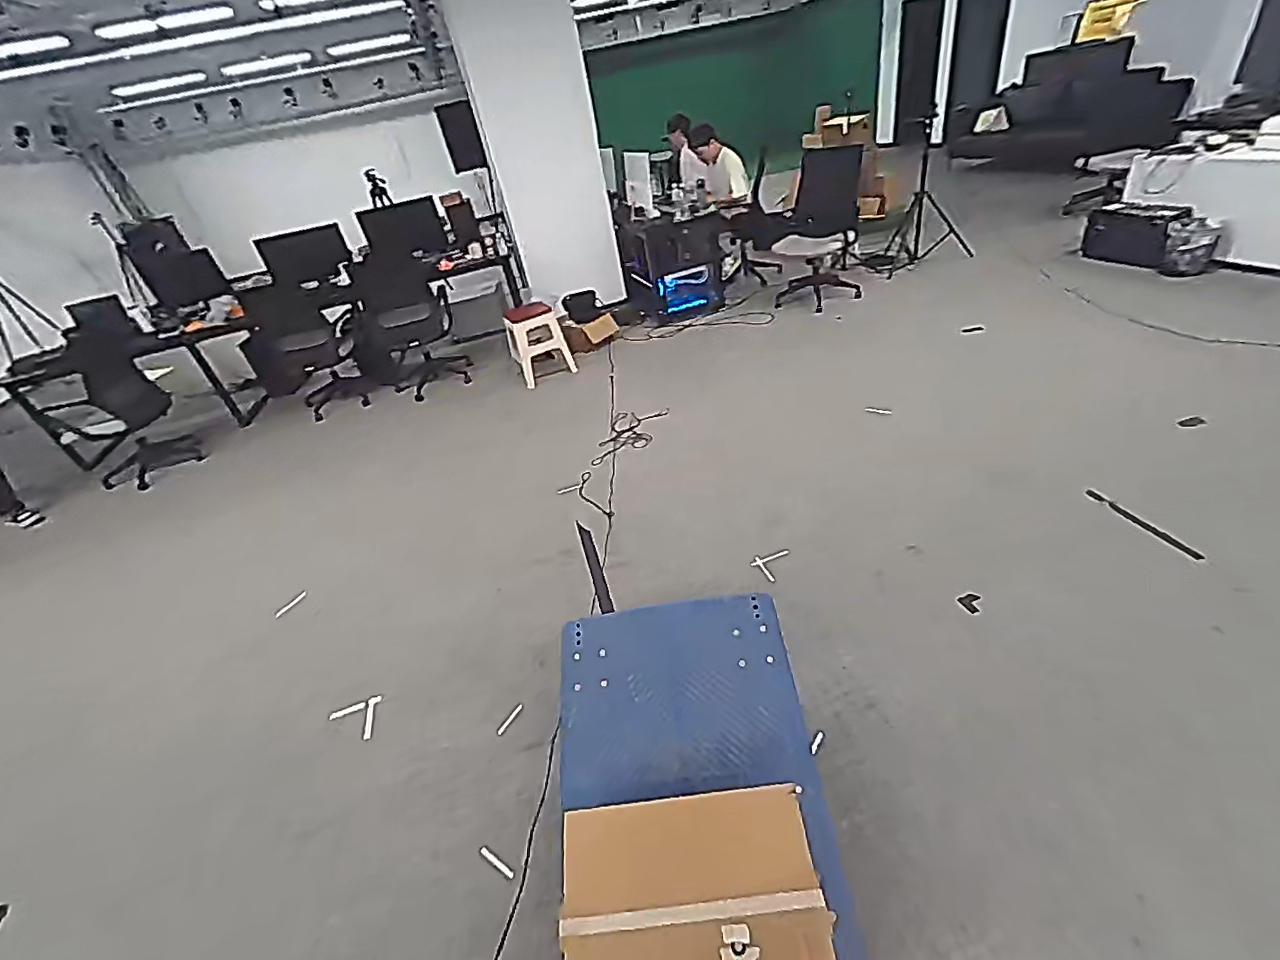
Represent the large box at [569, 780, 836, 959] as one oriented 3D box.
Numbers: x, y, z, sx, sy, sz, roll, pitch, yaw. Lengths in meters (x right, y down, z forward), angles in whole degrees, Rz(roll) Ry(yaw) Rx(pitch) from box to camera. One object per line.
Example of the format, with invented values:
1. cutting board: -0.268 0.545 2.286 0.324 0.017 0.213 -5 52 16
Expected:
1. large box: 0.105 0.766 0.971 0.408 0.320 0.320 -9 52 3
